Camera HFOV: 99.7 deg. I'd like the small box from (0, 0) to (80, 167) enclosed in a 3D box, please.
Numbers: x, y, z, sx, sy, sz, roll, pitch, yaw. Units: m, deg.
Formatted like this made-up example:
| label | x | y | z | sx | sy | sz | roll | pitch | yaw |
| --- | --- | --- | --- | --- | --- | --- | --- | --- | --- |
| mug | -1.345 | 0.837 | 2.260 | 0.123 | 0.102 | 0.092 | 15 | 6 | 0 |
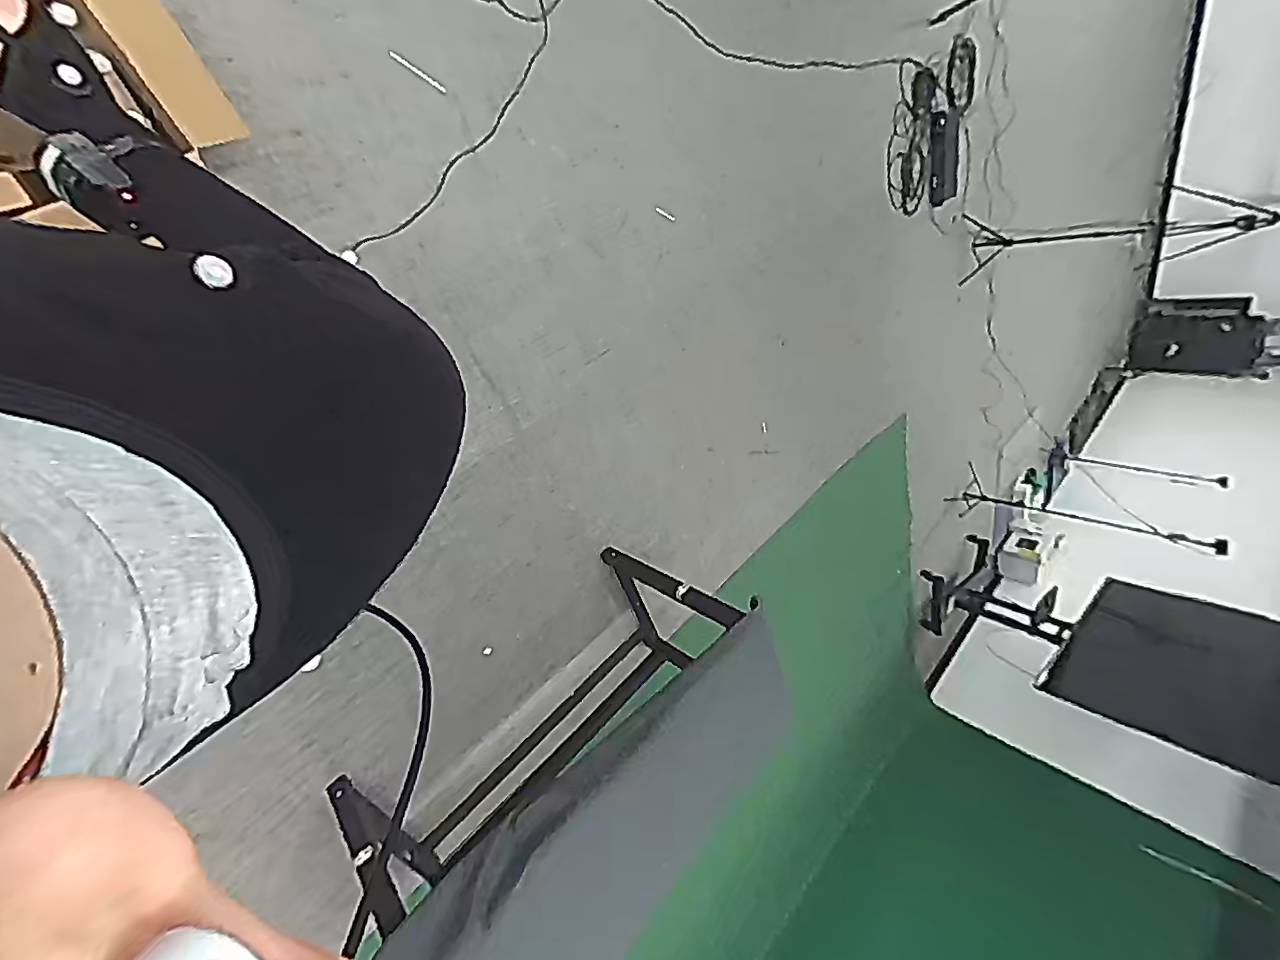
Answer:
| label | x | y | z | sx | sy | sz | roll | pitch | yaw |
| --- | --- | --- | --- | --- | --- | --- | --- | --- | --- |
| small box | -0.634 | -0.385 | 0.444 | 0.168 | 0.176 | 0.179 | -28 | 104 | -27 |
